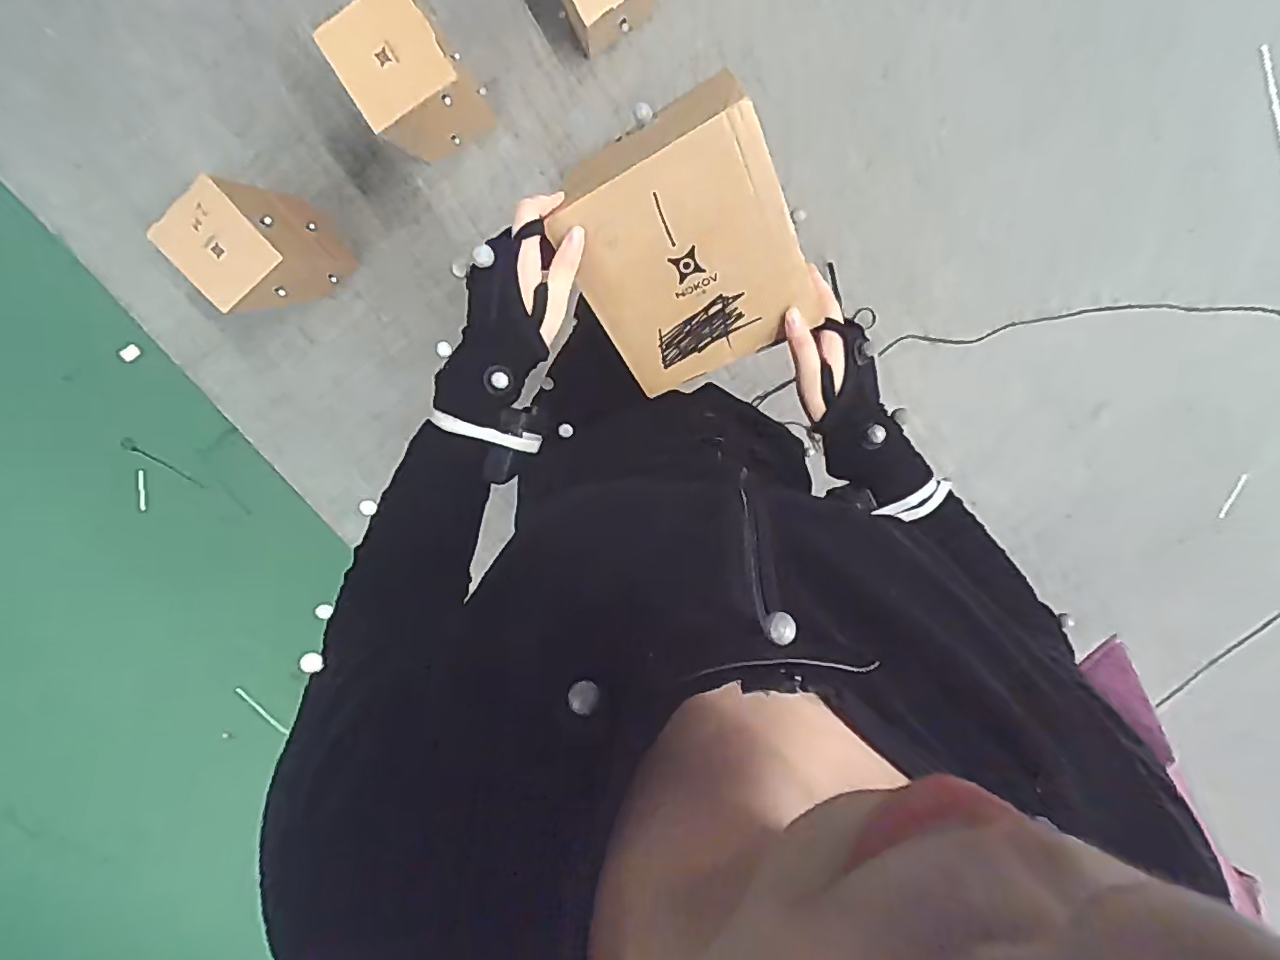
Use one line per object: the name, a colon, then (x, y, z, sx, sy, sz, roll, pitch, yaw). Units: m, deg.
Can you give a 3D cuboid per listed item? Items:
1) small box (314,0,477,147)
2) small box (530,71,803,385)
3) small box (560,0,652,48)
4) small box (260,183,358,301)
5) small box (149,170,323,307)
small box: (-0.423, -0.737, 0.970, 0.179, 0.176, 0.168, -28, 108, 9)
small box: (0.032, -0.223, 0.485, 0.168, 0.176, 0.179, -20, 128, 21)
small box: (-0.080, -0.996, 1.059, 0.168, 0.176, 0.179, -30, 109, 9)
small box: (-0.780, -0.526, 1.213, 0.168, 0.176, 0.179, -34, 107, 10)
small box: (-0.774, -0.465, 1.060, 0.168, 0.176, 0.179, -35, 108, 9)
